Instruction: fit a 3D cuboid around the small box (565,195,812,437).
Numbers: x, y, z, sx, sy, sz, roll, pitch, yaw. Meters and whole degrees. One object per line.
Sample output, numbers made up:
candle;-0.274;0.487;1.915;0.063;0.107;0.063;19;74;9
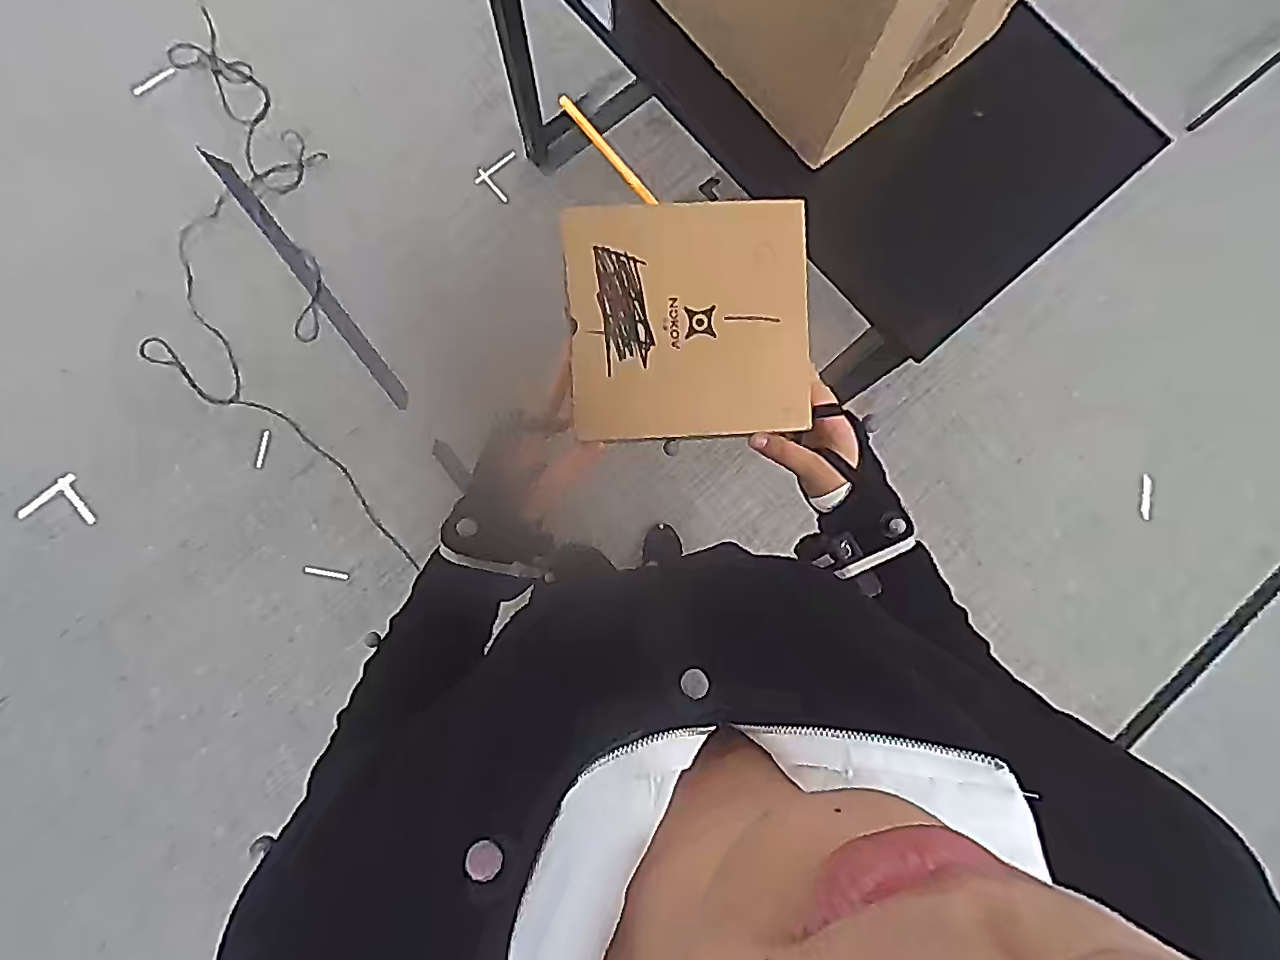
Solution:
small box;0.033;-0.123;0.466;0.179;0.176;0.168;-3;94;-3
